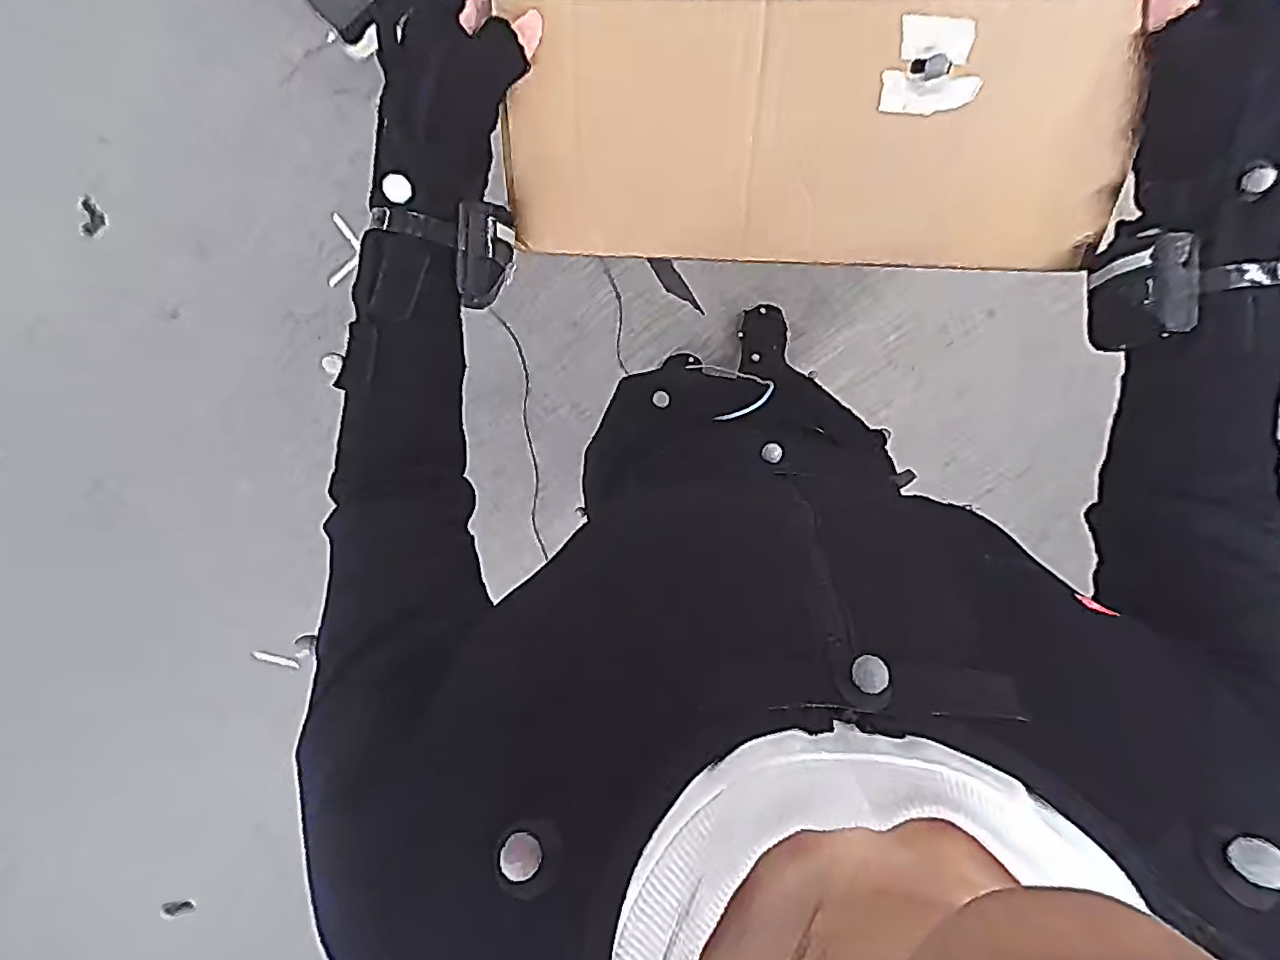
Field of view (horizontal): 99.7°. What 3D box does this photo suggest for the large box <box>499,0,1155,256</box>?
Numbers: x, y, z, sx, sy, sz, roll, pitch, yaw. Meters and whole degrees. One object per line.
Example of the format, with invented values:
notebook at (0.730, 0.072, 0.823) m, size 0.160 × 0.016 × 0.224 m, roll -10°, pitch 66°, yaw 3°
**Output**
large box at (0.115, -0.373, 0.457) m, size 0.408 × 0.320 × 0.320 m, roll 2°, pitch 119°, yaw 3°
